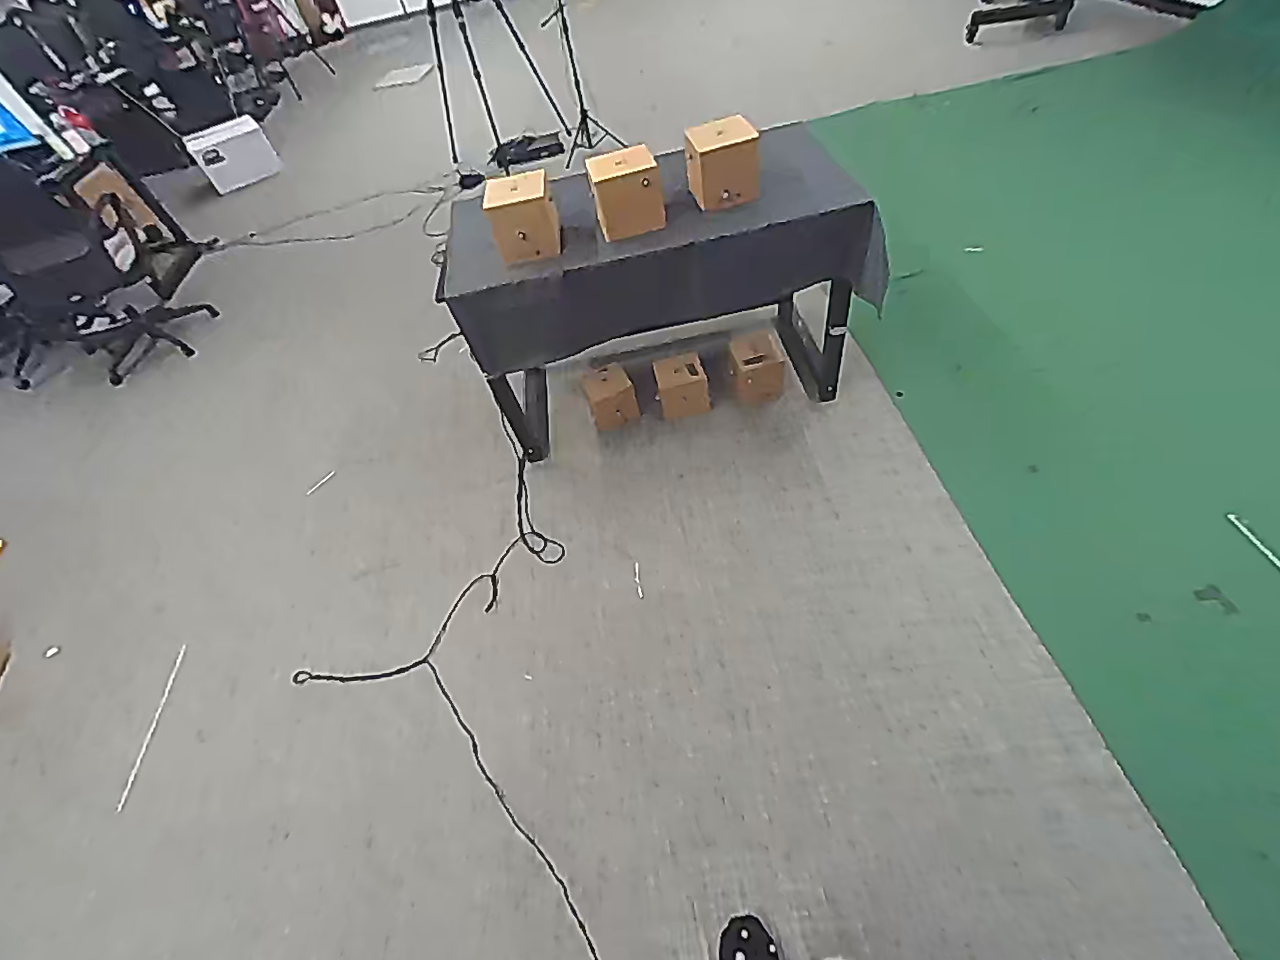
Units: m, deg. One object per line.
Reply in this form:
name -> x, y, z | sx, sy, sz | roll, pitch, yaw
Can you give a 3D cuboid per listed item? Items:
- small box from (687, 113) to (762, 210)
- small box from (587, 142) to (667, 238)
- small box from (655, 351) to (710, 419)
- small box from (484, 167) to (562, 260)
small box -> 0.234, -0.883, 1.504 | 0.168, 0.176, 0.179 | -14, 51, 2
small box -> -0.034, -0.795, 1.493 | 0.179, 0.176, 0.168 | -15, 51, 0
small box -> 0.163, -0.356, 2.041 | 0.179, 0.176, 0.168 | -14, 51, 3
small box -> -0.316, -0.730, 1.498 | 0.168, 0.176, 0.179 | -10, 51, 4
